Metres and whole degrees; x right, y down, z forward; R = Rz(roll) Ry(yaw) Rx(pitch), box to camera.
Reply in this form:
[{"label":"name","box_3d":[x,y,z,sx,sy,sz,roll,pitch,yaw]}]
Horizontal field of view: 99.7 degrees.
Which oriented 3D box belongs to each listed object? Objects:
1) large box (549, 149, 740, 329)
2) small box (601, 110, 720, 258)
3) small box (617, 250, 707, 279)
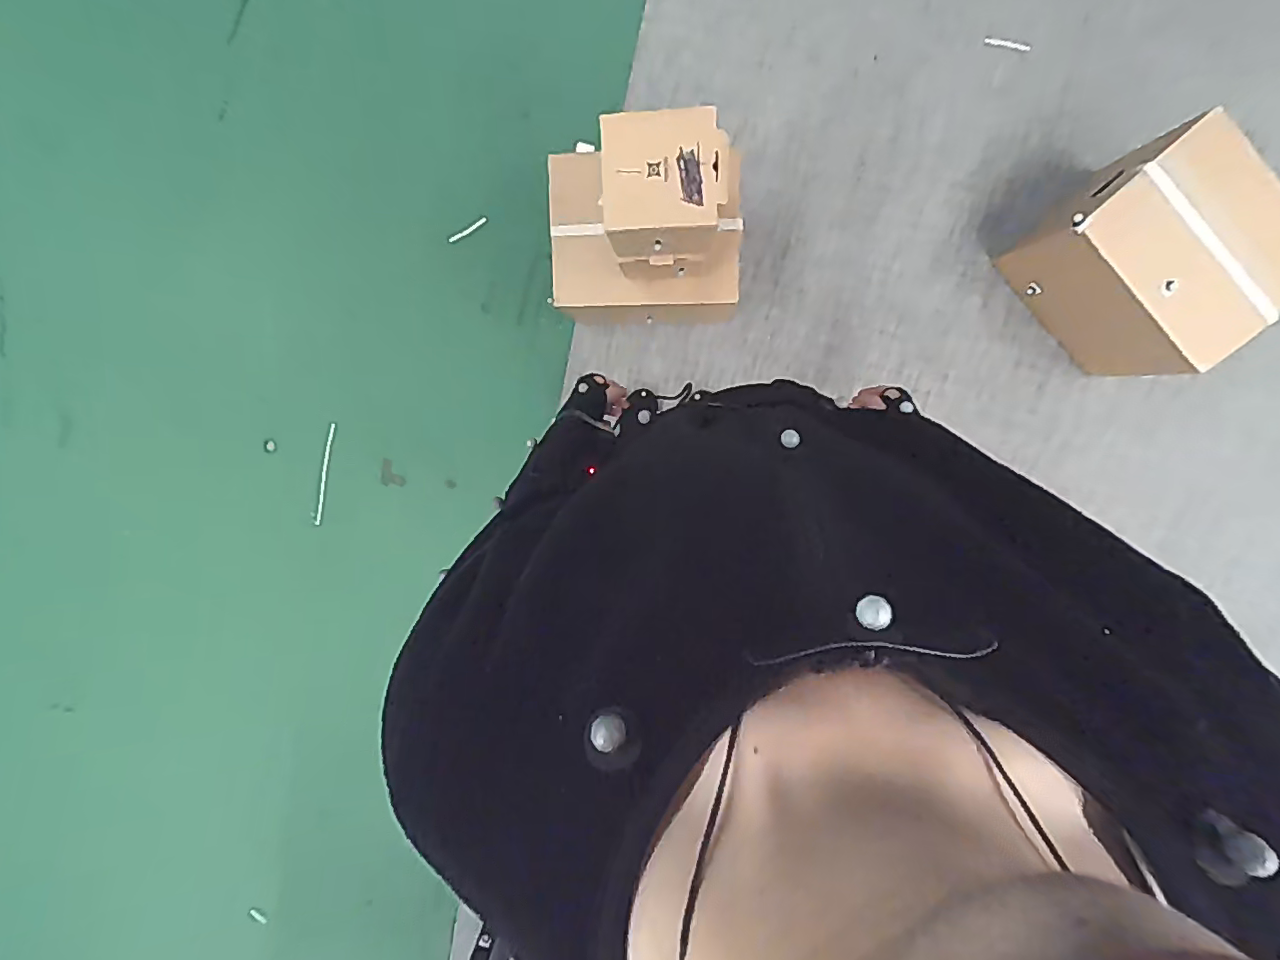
[{"label":"large box","box_3d":[0.027,-0.539,1.284,0.408,0.320,0.320,0,97,6]},{"label":"small box","box_3d":[0.036,-0.468,0.879,0.179,0.176,0.168,-1,99,5]},{"label":"small box","box_3d":[0.047,-0.490,1.041,0.168,0.176,0.179,1,99,5]}]
